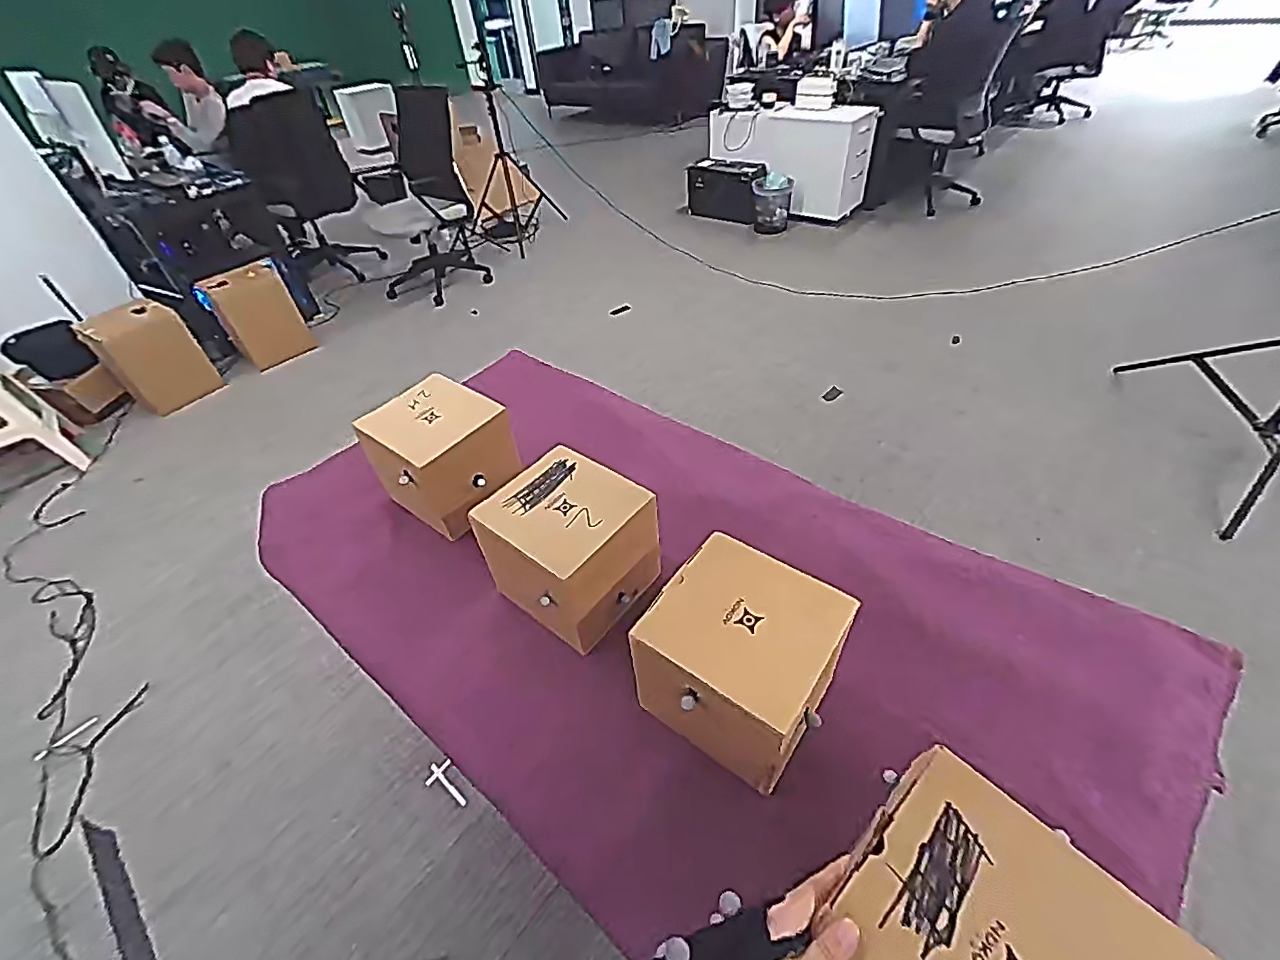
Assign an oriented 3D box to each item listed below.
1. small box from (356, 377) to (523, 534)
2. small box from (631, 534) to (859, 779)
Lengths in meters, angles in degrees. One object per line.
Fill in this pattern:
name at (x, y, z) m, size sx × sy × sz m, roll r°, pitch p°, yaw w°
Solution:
small box at (-0.318, -0.036, 0.892) m, size 0.179 × 0.176 × 0.168 m, roll 27°, pitch 52°, yaw 27°
small box at (0.113, 0.199, 0.603) m, size 0.179 × 0.176 × 0.168 m, roll 25°, pitch 52°, yaw 29°
